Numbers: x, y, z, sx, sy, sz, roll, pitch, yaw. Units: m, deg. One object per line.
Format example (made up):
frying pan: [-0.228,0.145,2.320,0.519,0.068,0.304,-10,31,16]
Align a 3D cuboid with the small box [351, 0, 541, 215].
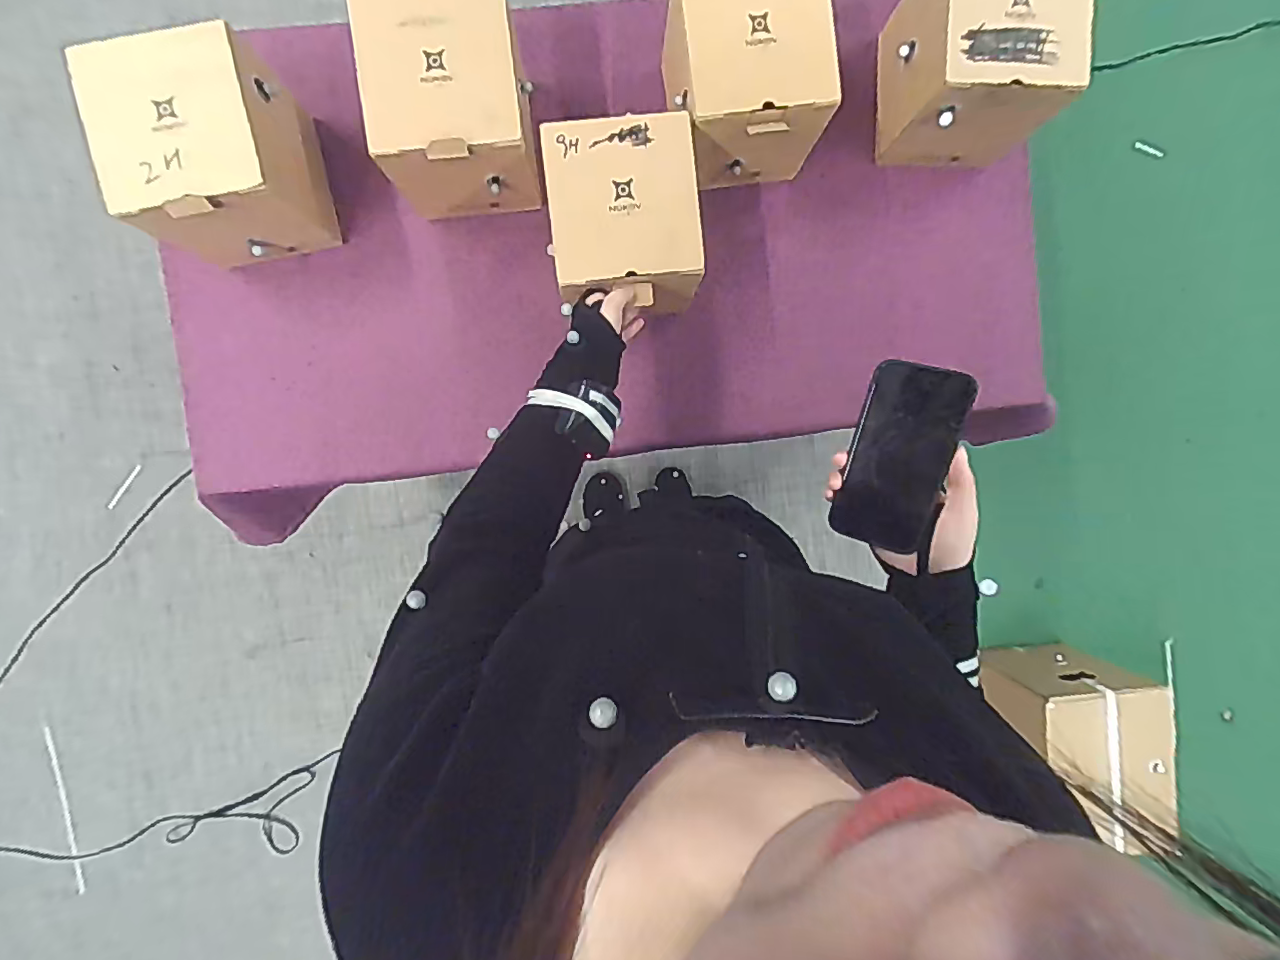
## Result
small box: [-0.219,-0.442,0.656,0.168,0.176,0.179,-6,93,-3]

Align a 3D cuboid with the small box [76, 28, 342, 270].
small box: [-0.494,-0.378,0.648,0.168,0.176,0.179,-12,94,-1]

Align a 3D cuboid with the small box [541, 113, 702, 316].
small box: [-0.021,-0.309,0.670,0.168,0.176,0.179,-6,94,-2]

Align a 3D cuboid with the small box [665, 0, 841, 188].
small box: [0.126,-0.494,0.667,0.168,0.176,0.179,-8,94,-1]
